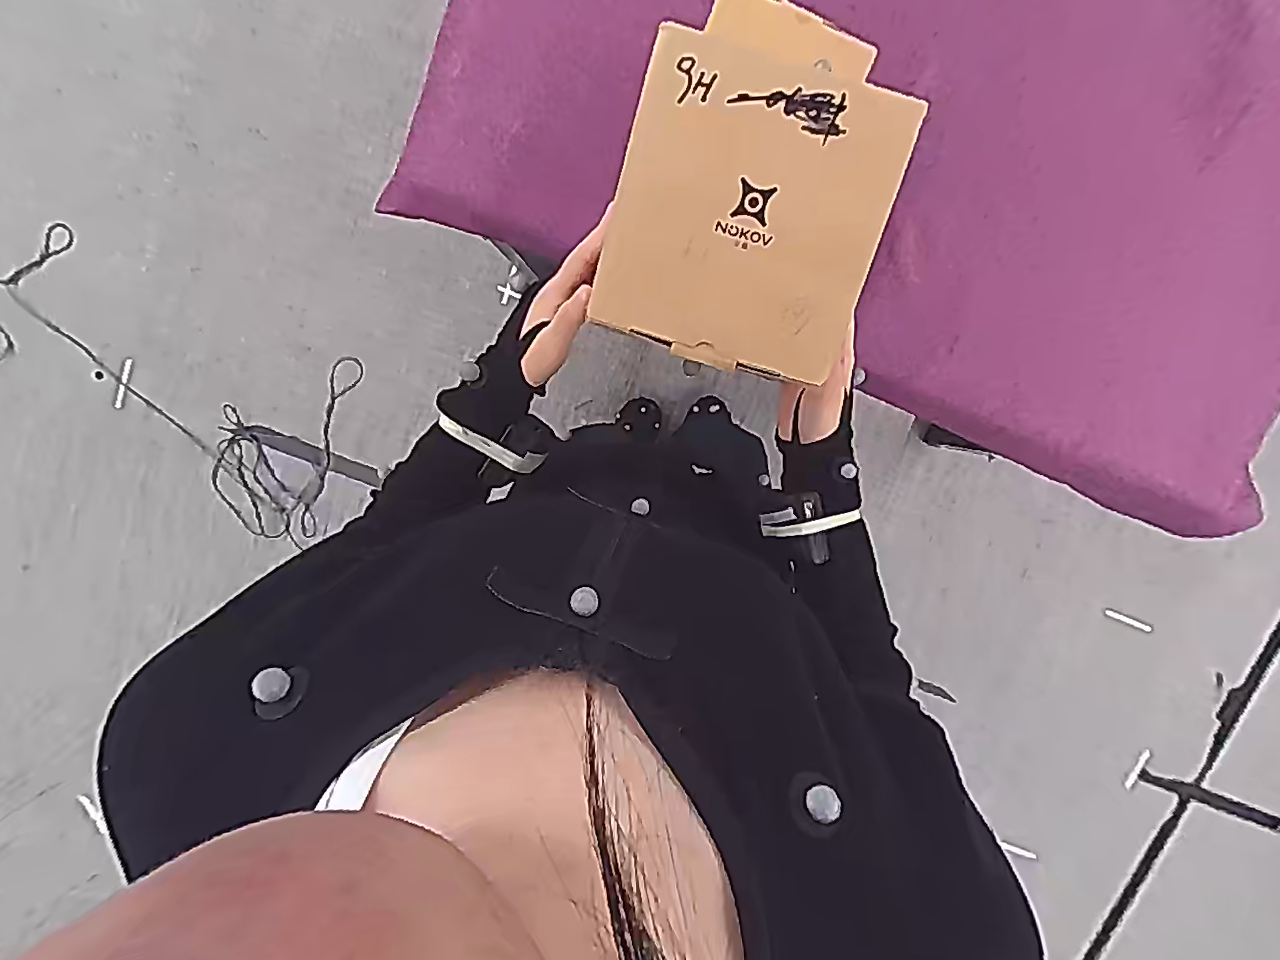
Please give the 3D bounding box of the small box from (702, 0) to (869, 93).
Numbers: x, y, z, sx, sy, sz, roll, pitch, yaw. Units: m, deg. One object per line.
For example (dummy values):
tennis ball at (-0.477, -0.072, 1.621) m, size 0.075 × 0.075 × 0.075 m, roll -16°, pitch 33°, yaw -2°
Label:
small box at (0.122, -0.384, 0.623) m, size 0.168 × 0.176 × 0.179 m, roll 22°, pitch 97°, yaw -5°

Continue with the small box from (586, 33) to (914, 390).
small box at (0.069, -0.182, 0.420) m, size 0.168 × 0.176 × 0.179 m, roll 16°, pitch 104°, yaw -1°
